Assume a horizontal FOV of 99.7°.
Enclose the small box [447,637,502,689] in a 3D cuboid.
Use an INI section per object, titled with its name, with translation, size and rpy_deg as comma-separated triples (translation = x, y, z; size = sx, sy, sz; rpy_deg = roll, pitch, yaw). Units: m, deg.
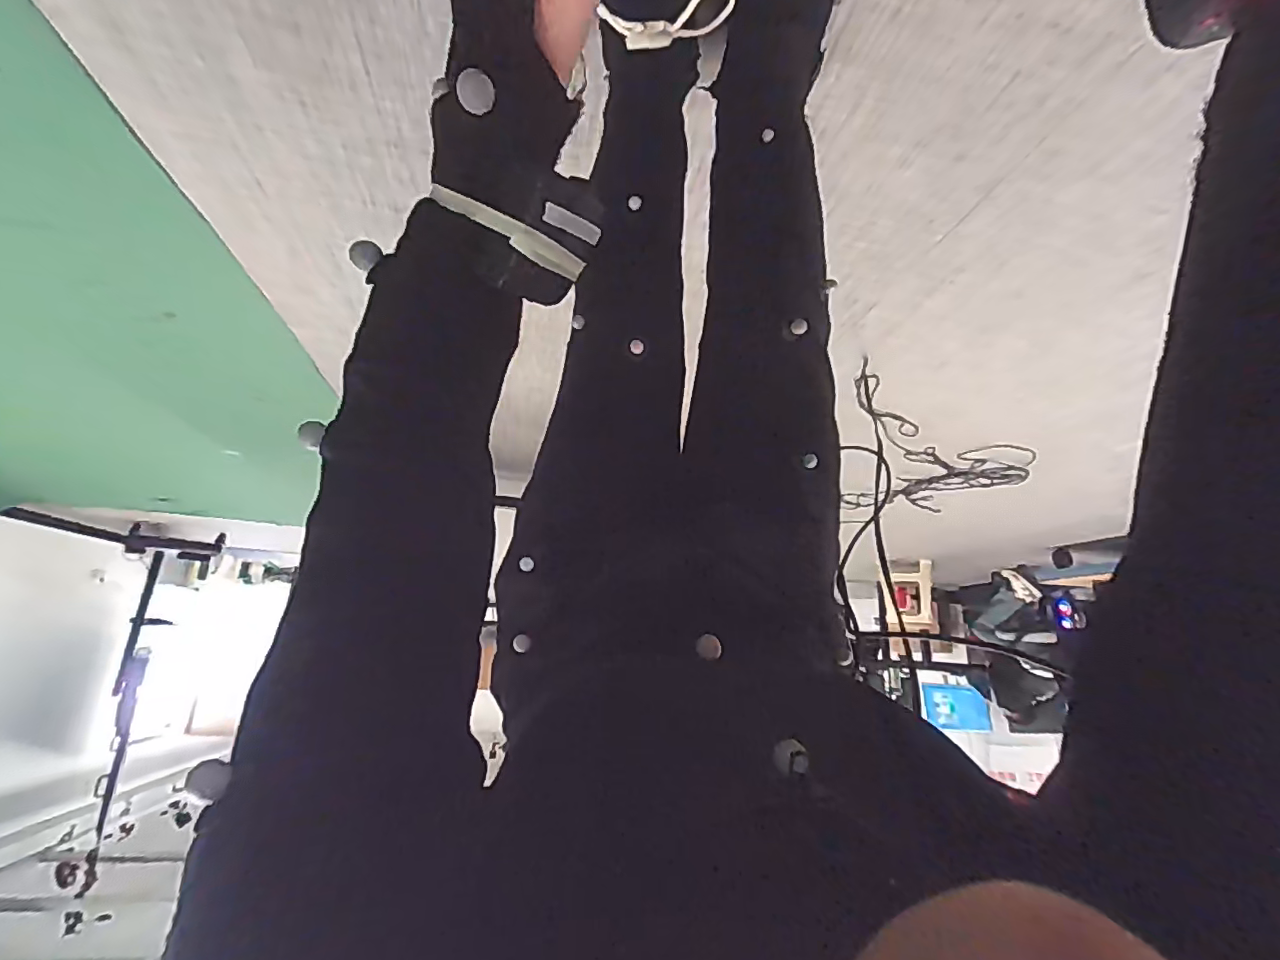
[small box]
translation = -0.594, 0.657, 1.950
size = 0.168, 0.176, 0.179
rpy_deg = 6, 162, -11
